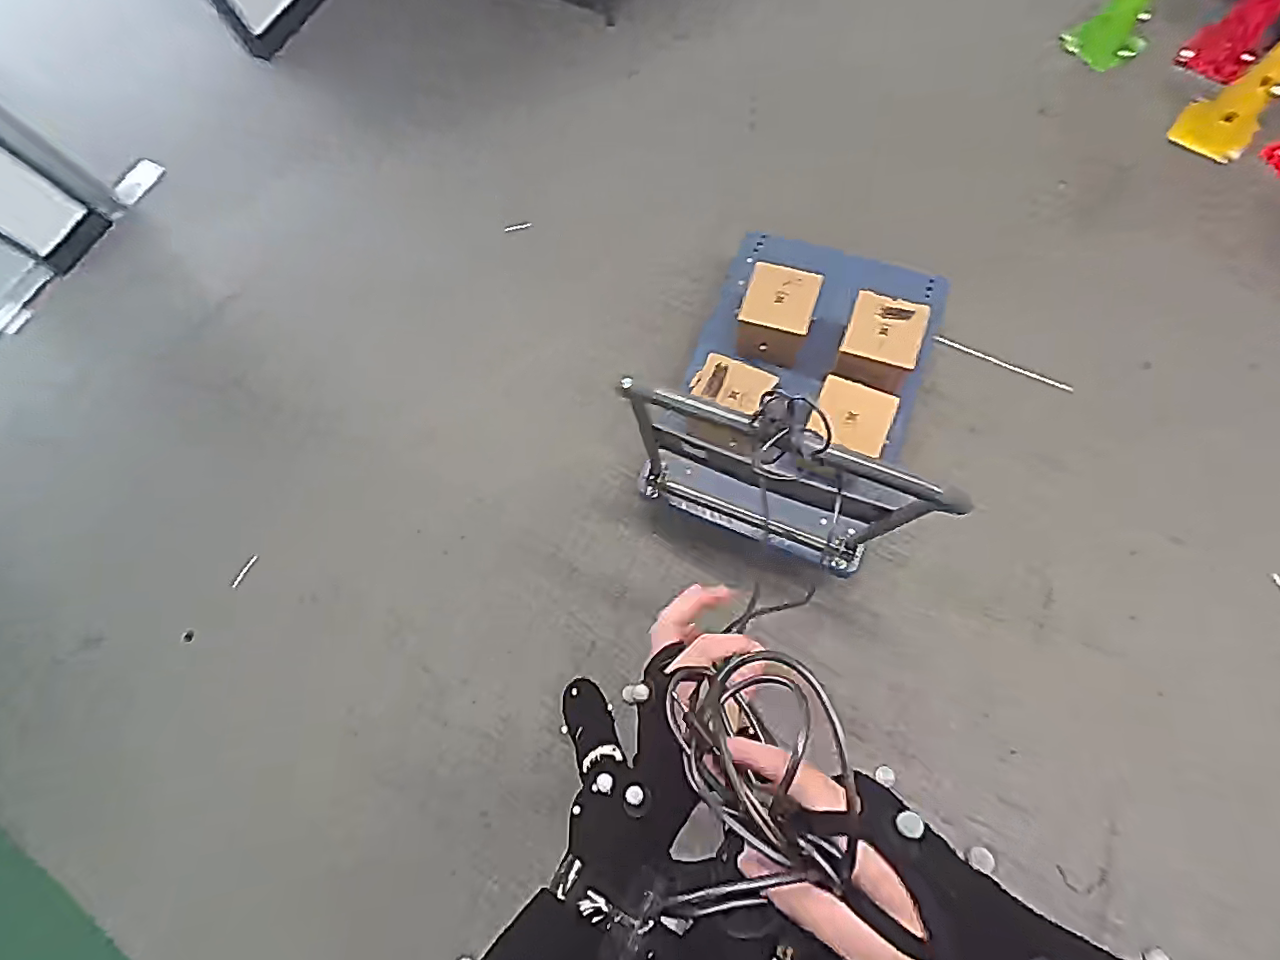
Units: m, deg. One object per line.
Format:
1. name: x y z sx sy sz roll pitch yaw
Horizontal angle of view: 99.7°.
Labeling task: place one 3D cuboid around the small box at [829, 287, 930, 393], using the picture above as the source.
1. small box: 0.581 -0.335 1.331 0.168 0.176 0.179 19 77 13

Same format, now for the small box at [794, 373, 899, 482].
1. small box: 0.480 -0.119 1.280 0.168 0.176 0.179 23 78 13

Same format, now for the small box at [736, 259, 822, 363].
1. small box: 0.348 -0.426 1.386 0.168 0.176 0.179 18 76 11
